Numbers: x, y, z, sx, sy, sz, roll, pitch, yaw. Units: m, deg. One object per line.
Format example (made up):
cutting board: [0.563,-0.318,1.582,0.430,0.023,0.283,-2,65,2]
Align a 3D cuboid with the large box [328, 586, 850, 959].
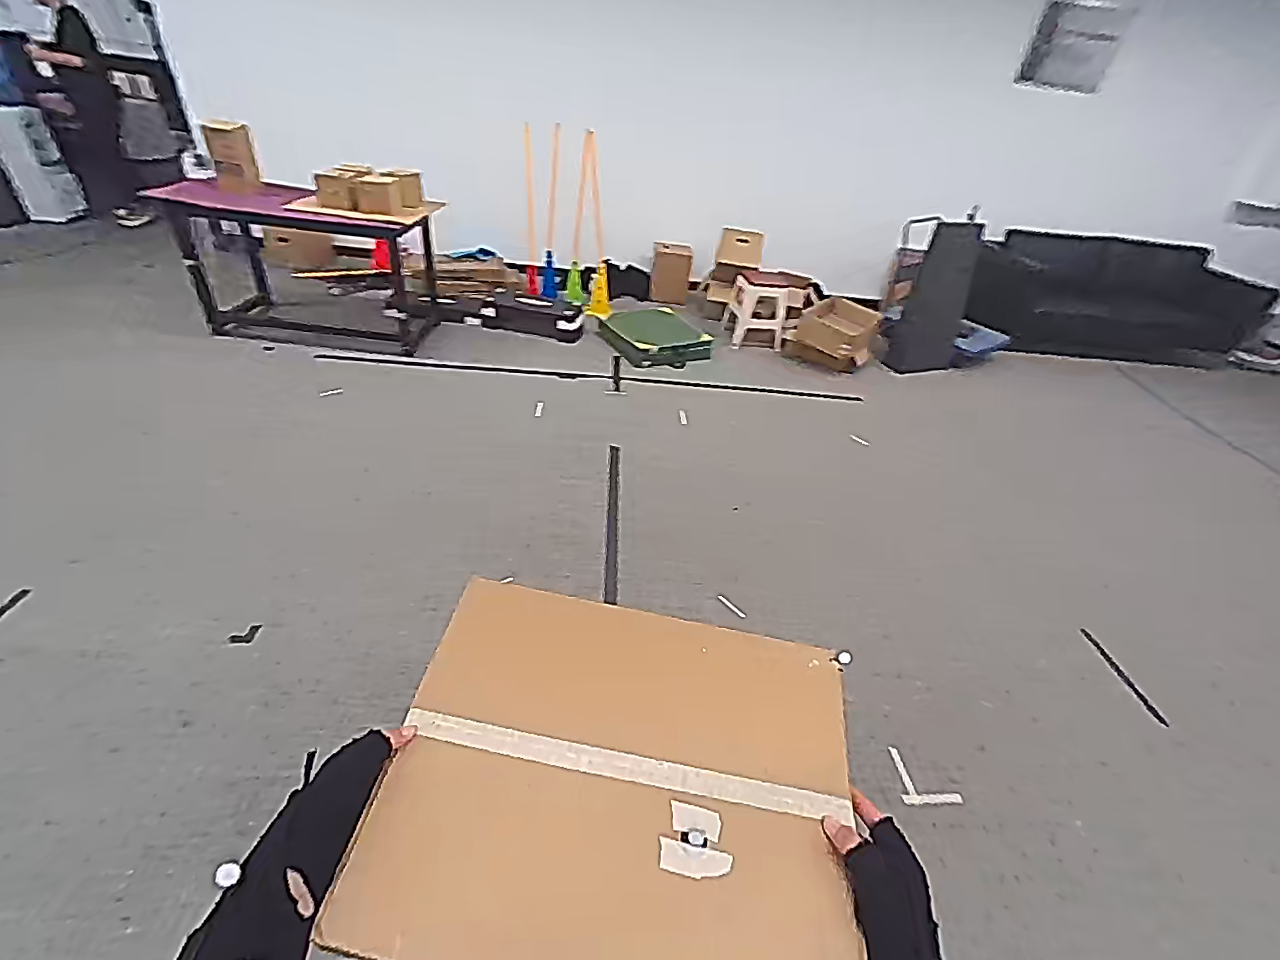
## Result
large box: [-0.034,0.361,0.603,0.408,0.320,0.320,11,47,2]
